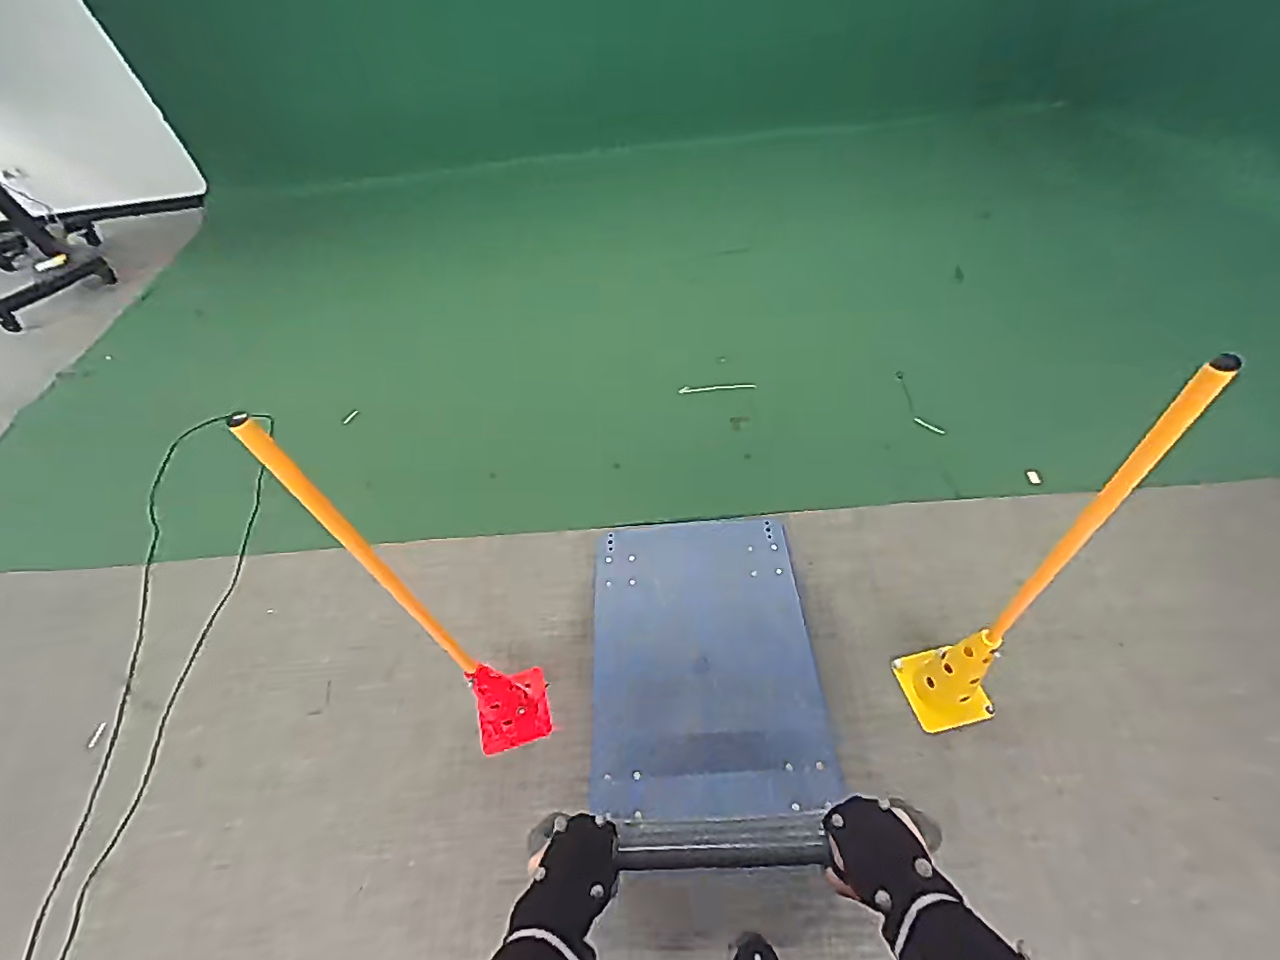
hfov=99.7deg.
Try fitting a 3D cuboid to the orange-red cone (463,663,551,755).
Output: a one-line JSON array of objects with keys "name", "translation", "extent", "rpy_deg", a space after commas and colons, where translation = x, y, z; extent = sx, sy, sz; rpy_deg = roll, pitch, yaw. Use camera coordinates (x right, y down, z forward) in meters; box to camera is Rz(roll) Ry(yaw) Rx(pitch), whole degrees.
[{"name": "orange-red cone", "translation": [-0.381, 0.558, 1.410], "extent": [0.199, 0.360, 0.198], "rpy_deg": [-17, 51, -4]}]
